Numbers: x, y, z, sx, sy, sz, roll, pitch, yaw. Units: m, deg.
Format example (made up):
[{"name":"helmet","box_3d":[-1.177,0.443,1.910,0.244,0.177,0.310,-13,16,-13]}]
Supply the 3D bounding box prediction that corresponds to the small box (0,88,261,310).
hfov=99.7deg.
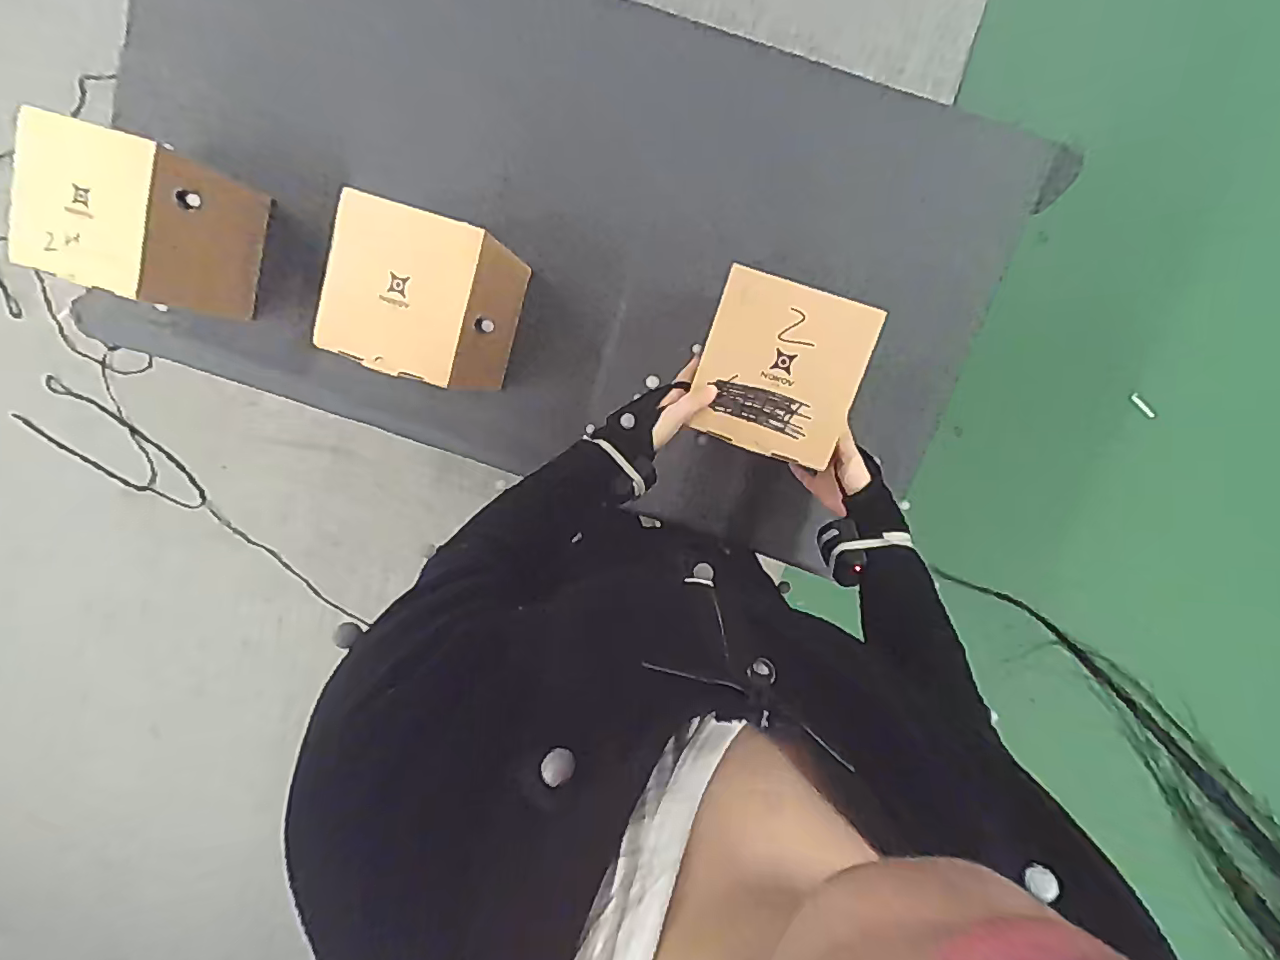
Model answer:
[{"name":"small box","box_3d":[-0.616,-0.330,0.672,0.168,0.176,0.179,17,100,2]}]

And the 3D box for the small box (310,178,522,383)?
[{"name":"small box","box_3d":[-0.257,-0.226,0.661,0.168,0.176,0.179,18,100,2]}]
